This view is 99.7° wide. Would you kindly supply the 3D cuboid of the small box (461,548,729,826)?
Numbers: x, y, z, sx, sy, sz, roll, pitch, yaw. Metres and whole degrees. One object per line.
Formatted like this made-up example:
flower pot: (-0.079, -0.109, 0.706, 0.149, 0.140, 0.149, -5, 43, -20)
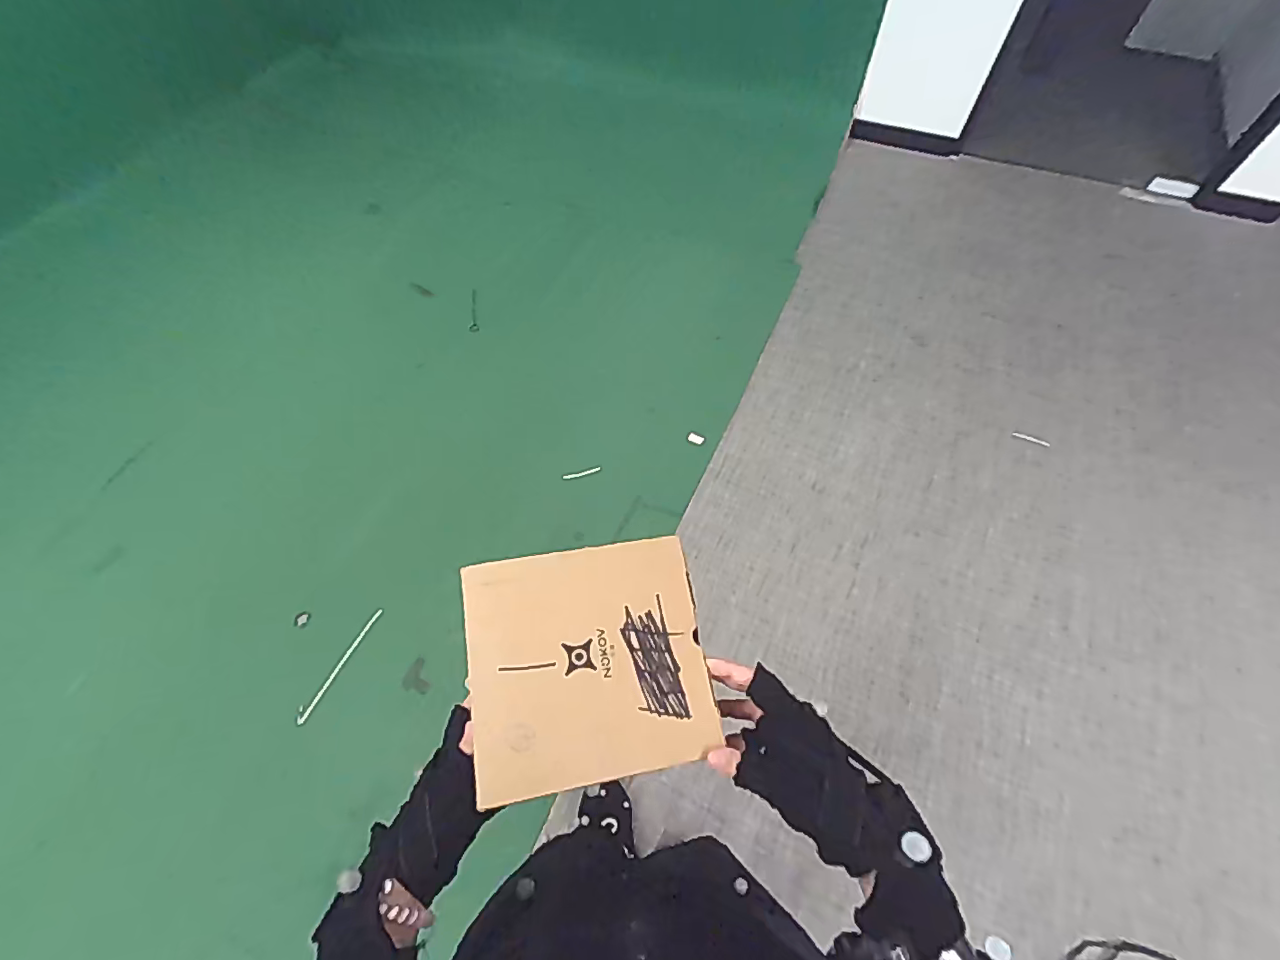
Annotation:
small box: (-0.046, 0.166, 0.458, 0.179, 0.176, 0.168, -6, 68, -11)
